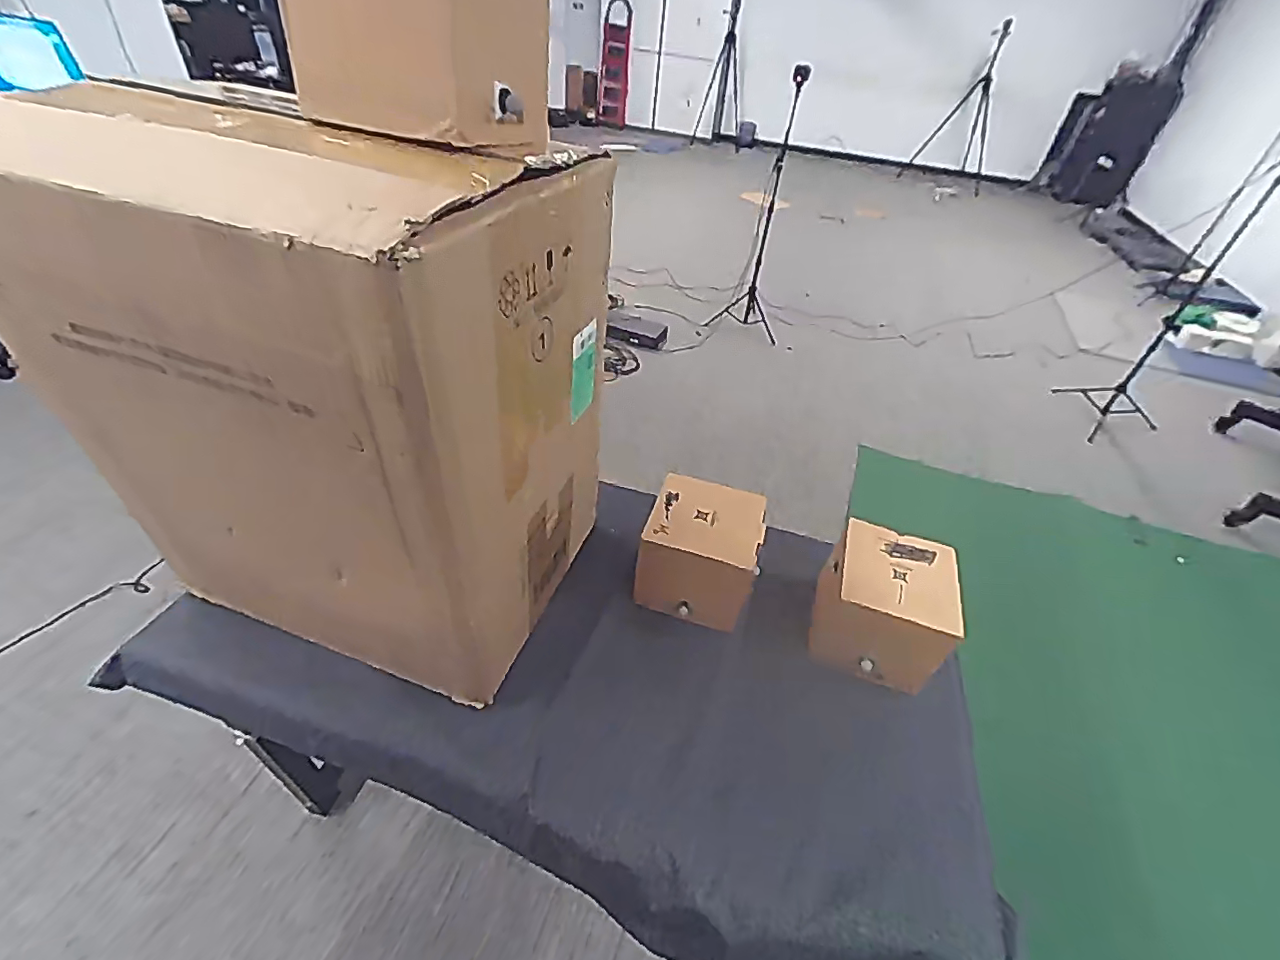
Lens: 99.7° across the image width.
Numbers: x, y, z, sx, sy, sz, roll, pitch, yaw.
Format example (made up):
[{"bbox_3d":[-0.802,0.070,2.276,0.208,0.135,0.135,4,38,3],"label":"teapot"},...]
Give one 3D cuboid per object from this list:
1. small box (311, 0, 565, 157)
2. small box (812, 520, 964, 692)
[{"bbox_3d":[-0.188,-0.419,0.517,0.179,0.176,0.168,18,37,11],"label":"small box"},{"bbox_3d":[0.385,0.199,0.861,0.168,0.176,0.179,17,43,12],"label":"small box"}]
